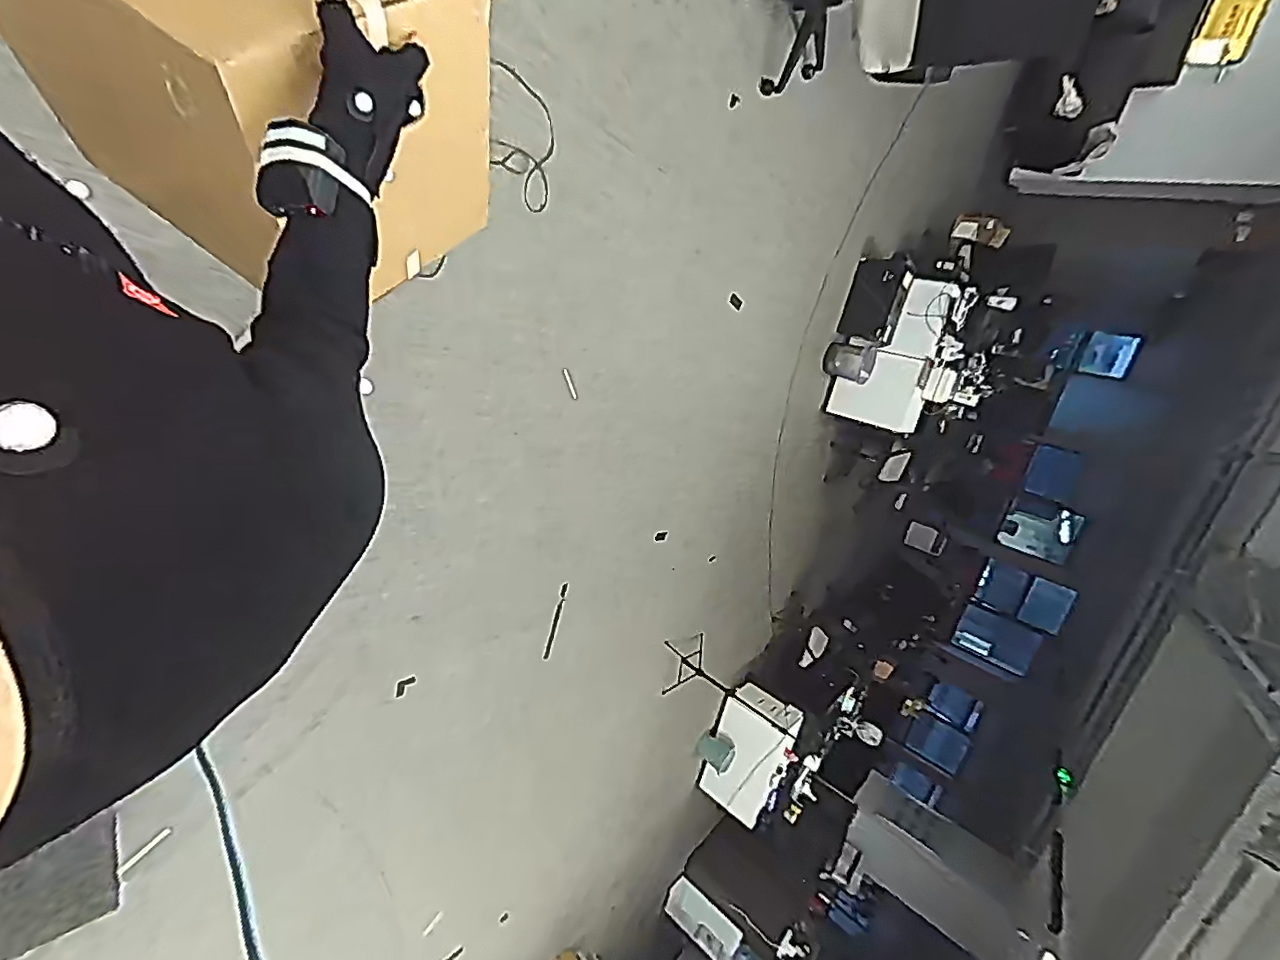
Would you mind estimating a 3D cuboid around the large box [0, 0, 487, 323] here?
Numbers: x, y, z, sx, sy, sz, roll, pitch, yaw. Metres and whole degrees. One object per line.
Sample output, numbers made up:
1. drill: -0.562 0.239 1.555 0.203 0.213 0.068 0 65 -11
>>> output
1. large box: -0.443 -0.473 0.641 0.320 0.408 0.320 -52 177 -29
